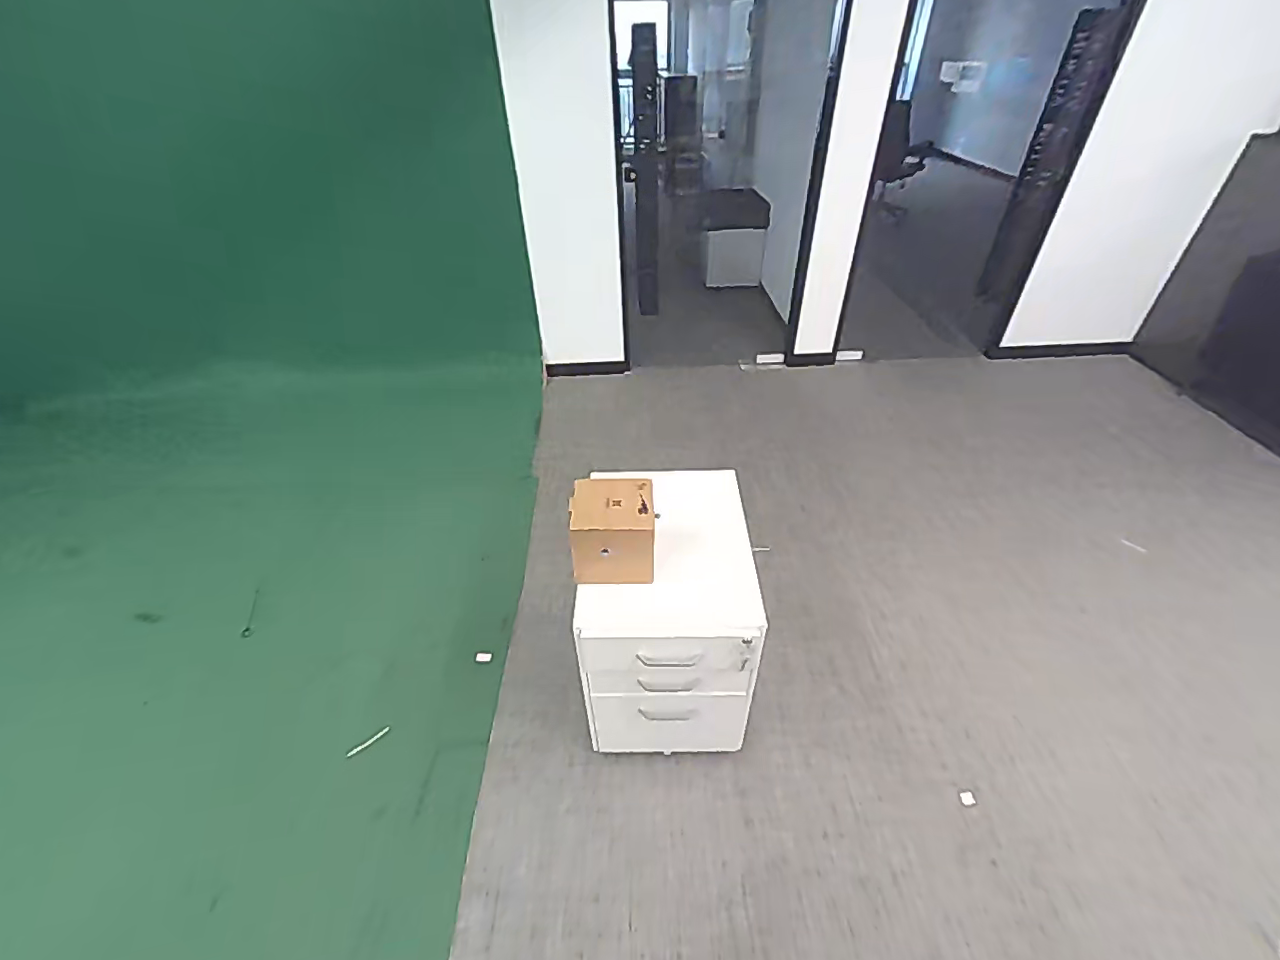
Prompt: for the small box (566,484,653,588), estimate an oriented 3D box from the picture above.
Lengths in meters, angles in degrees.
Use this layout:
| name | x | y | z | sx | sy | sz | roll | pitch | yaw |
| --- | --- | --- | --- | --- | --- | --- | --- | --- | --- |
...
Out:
| name | x | y | z | sx | sy | sz | roll | pitch | yaw |
| --- | --- | --- | --- | --- | --- | --- | --- | --- | --- |
| small box | -0.061 | 0.124 | 1.194 | 0.179 | 0.176 | 0.168 | 0 | 39 | 0 |
